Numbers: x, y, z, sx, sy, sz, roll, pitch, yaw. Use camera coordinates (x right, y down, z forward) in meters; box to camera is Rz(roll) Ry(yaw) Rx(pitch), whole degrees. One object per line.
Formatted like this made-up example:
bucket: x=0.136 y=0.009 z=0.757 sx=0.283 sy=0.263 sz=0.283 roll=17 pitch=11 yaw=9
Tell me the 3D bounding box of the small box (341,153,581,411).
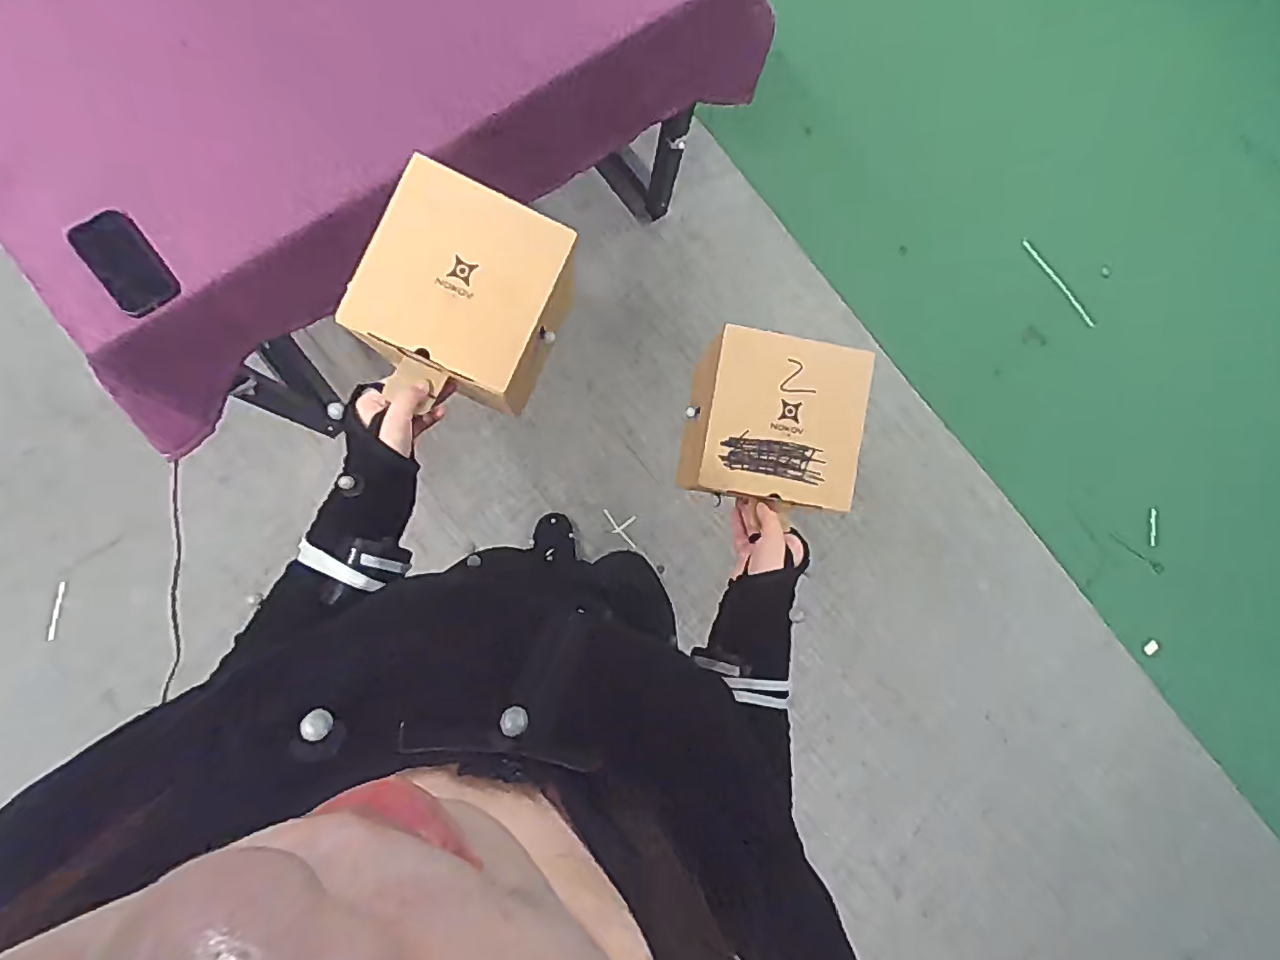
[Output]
small box: x=-0.177 y=-0.191 z=0.580 sx=0.168 sy=0.176 sz=0.179 roll=24 pitch=87 yaw=-8
